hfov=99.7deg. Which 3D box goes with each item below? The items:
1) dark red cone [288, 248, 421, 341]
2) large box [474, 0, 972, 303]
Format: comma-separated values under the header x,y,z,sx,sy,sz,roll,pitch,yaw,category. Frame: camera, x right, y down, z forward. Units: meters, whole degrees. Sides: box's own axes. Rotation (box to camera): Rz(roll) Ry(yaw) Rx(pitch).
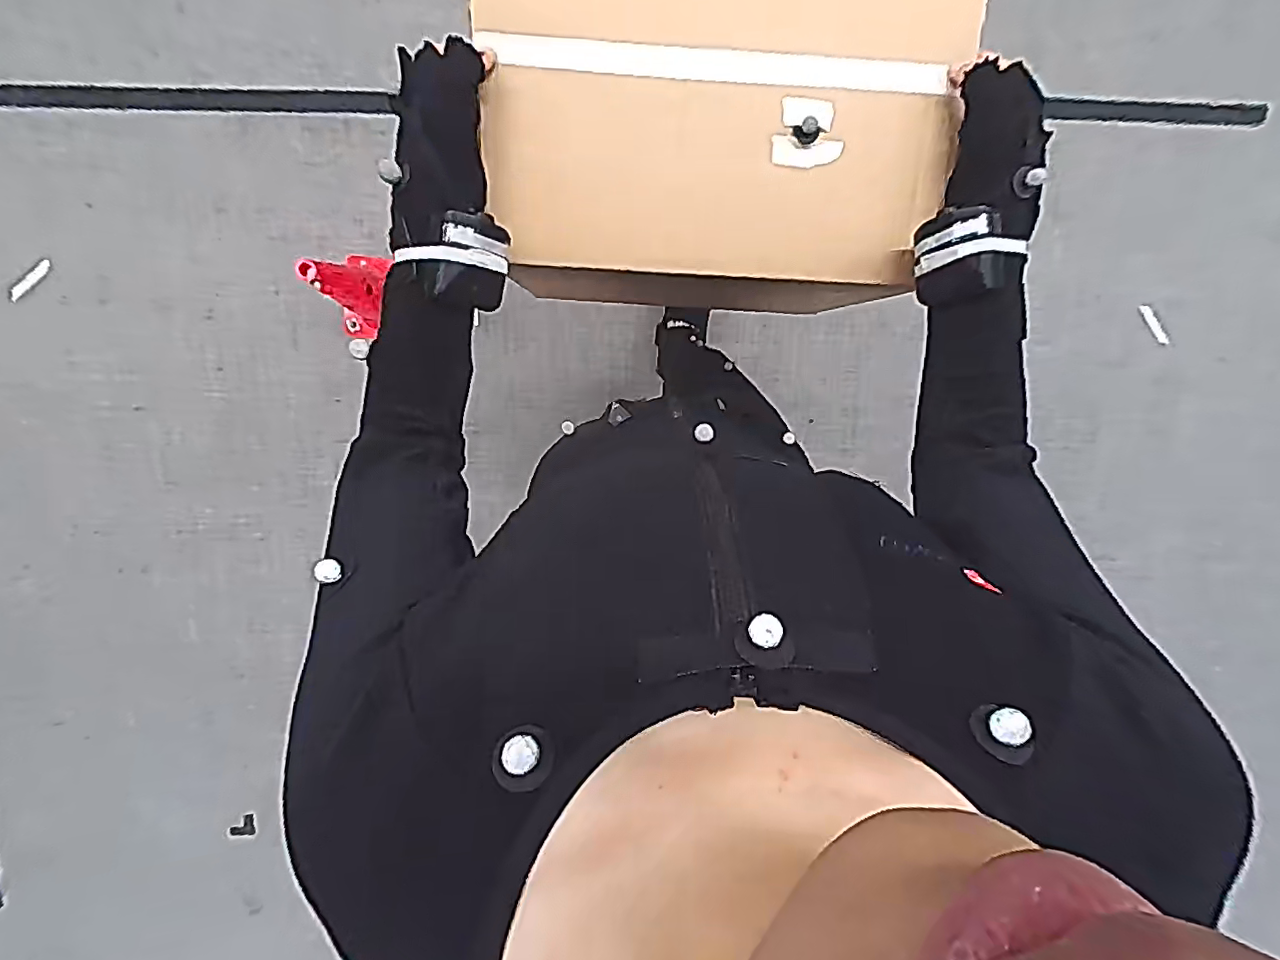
x,y,z,sx,sy,sz,roll,pitch,yaw,category
-0.634,-0.428,1.173,0.201,0.394,0.202,6,99,-4,dark red cone
0.058,-0.372,0.583,0.408,0.320,0.320,2,103,-3,large box
